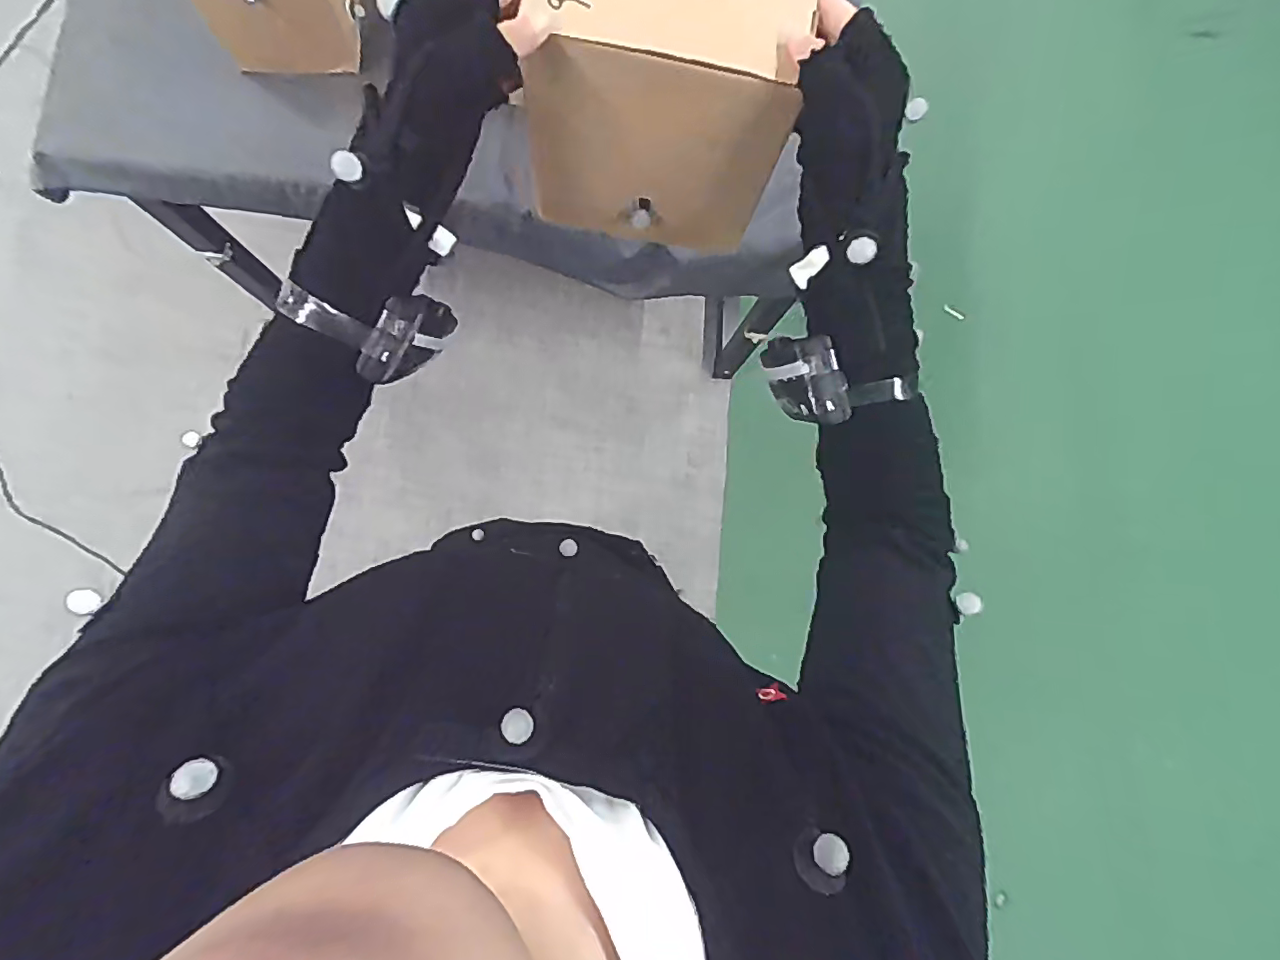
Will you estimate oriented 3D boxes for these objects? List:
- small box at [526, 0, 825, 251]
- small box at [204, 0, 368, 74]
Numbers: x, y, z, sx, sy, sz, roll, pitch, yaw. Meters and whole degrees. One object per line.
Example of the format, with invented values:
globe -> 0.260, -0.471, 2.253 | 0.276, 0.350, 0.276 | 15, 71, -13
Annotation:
small box -> 0.022, -0.303, 0.409 | 0.179, 0.176, 0.168 | 9, 77, -5
small box -> -0.499, -0.700, 0.743 | 0.179, 0.176, 0.168 | -5, 84, -8
